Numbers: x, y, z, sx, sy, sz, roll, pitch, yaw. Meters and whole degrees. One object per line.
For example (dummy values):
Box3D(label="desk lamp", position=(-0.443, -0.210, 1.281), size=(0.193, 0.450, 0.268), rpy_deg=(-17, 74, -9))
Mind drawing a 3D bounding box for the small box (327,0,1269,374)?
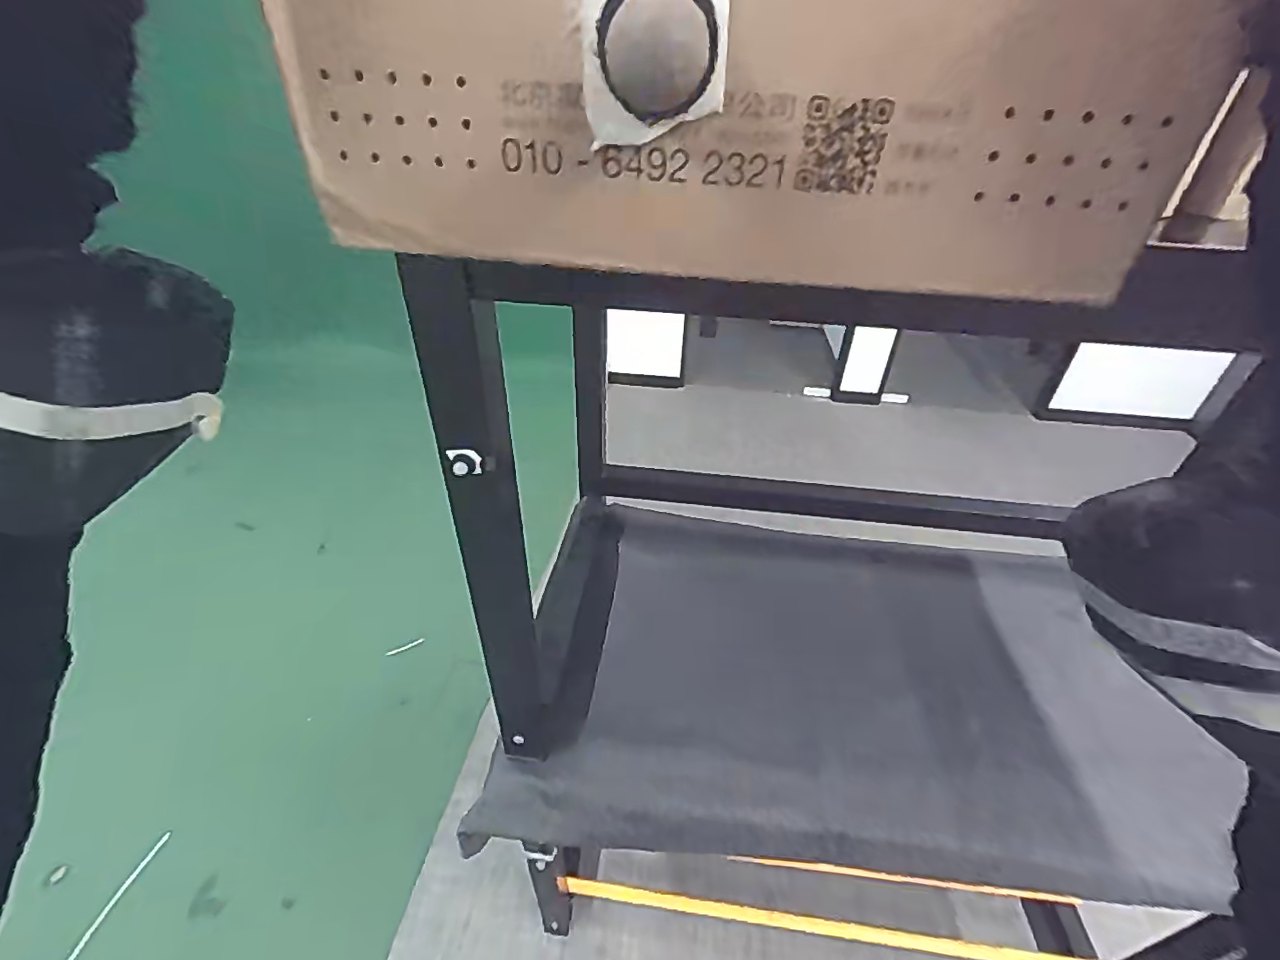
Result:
Box3D(label="small box", position=(0.027, -0.145, 0.145), size=(0.168, 0.176, 0.179), rpy_deg=(4, 37, 3))
